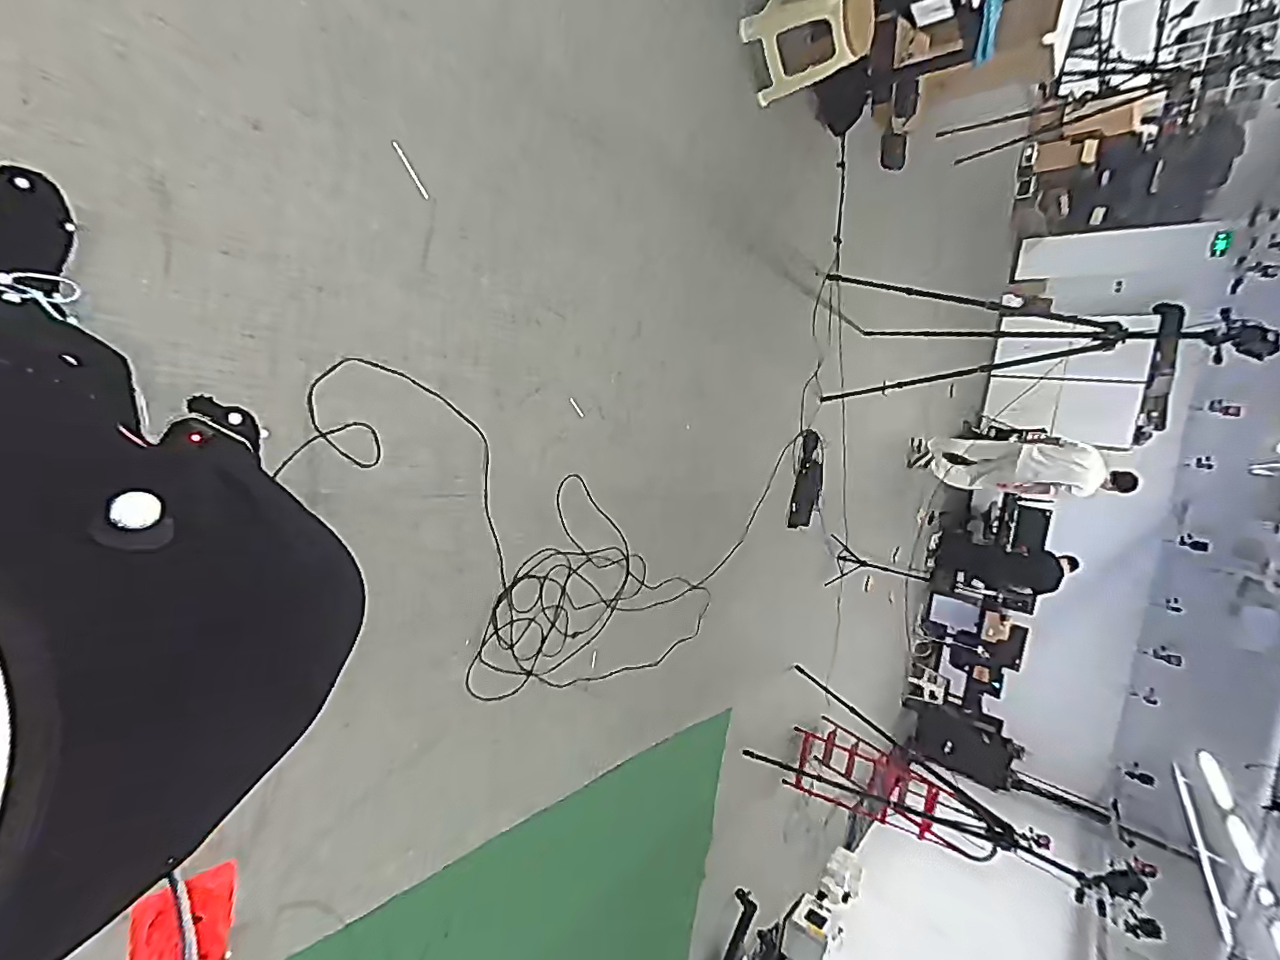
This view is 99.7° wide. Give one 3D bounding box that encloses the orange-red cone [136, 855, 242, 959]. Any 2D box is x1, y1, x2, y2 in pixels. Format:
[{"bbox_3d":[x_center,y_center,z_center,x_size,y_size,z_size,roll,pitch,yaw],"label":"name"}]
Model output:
[{"bbox_3d":[-0.973,1.081,1.223,0.198,0.360,0.199,2,97,-51],"label":"orange-red cone"}]
